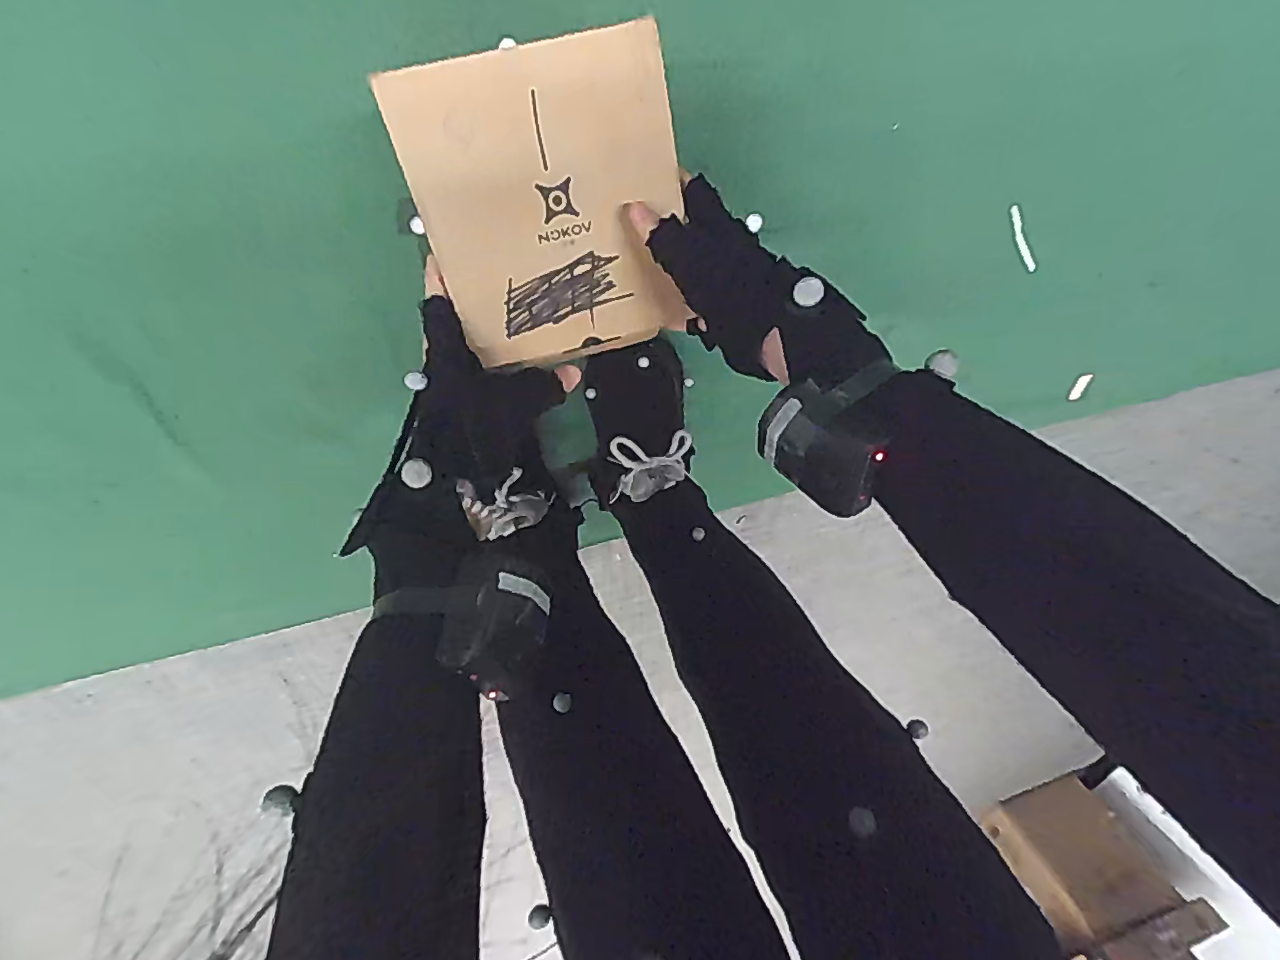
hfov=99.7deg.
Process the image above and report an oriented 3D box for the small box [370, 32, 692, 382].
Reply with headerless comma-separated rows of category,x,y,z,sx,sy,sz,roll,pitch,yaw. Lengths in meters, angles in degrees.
small box,-0.073,-0.200,0.411,0.168,0.176,0.179,-17,122,-7
